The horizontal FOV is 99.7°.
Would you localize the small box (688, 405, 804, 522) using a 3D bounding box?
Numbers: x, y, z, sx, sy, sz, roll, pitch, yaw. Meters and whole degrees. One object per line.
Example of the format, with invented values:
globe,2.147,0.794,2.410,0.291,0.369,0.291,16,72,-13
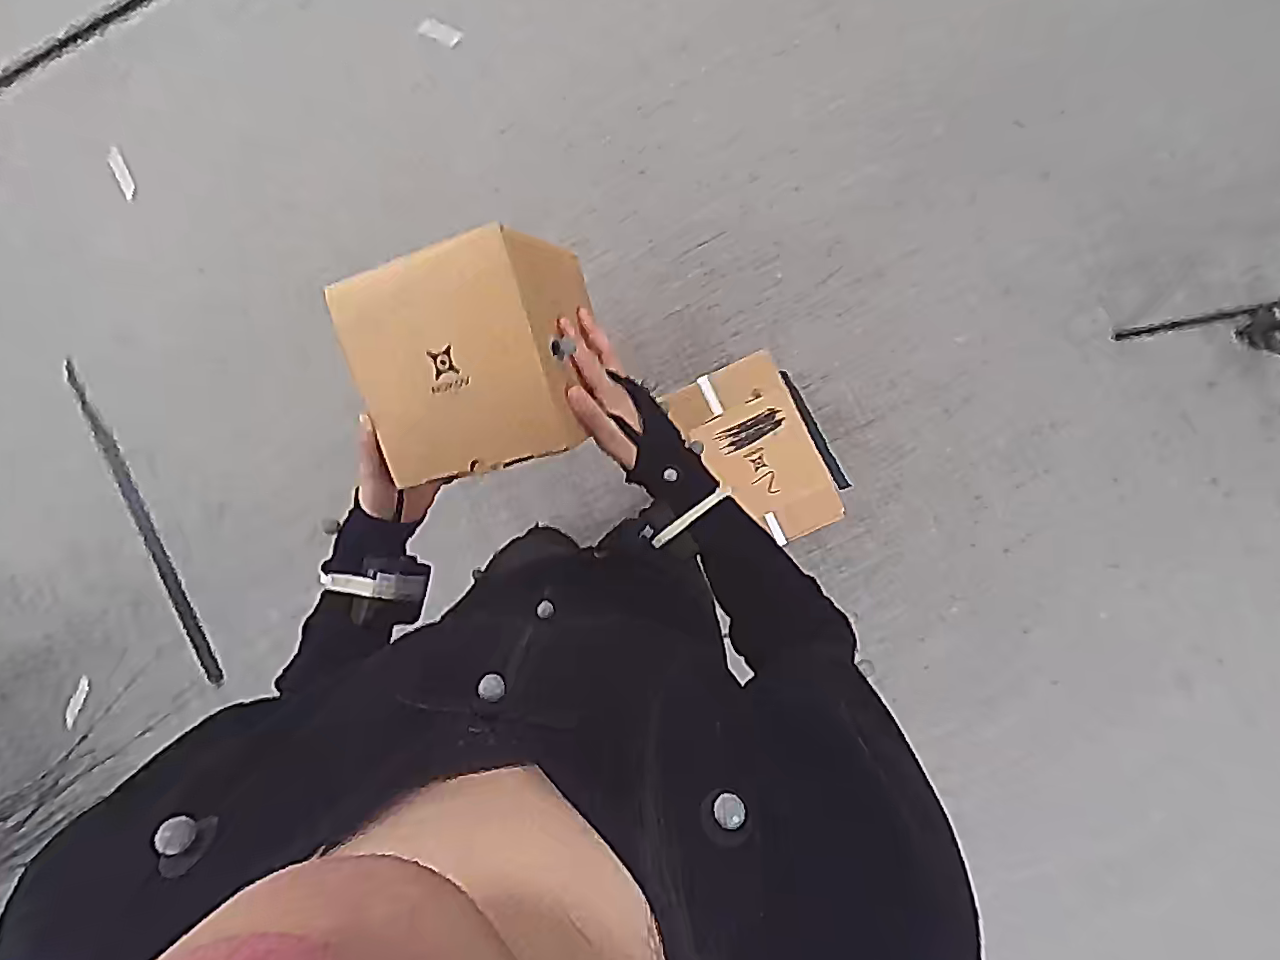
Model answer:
small box,0.204,-0.031,1.099,0.168,0.176,0.179,-27,89,4
